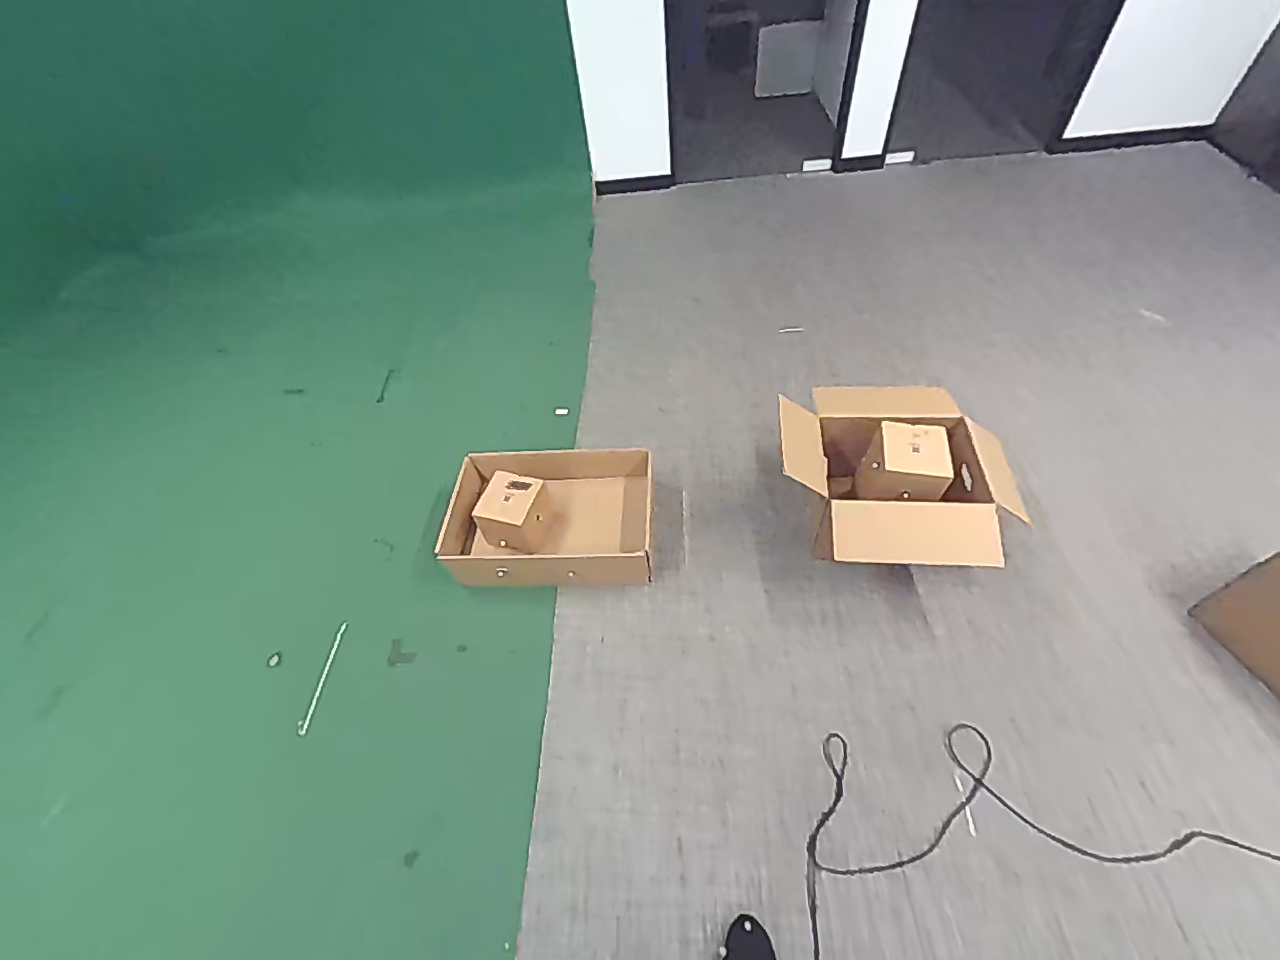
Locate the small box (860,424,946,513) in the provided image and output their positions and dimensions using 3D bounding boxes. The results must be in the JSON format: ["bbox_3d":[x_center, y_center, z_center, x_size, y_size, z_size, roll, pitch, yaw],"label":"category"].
[{"bbox_3d":[0.716,-0.029,1.491,0.168,0.176,0.179,8,53,8],"label":"small box"}]

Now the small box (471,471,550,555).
[{"bbox_3d":[-0.392,0.103,1.676,0.168,0.176,0.179,11,53,14],"label":"small box"}]
